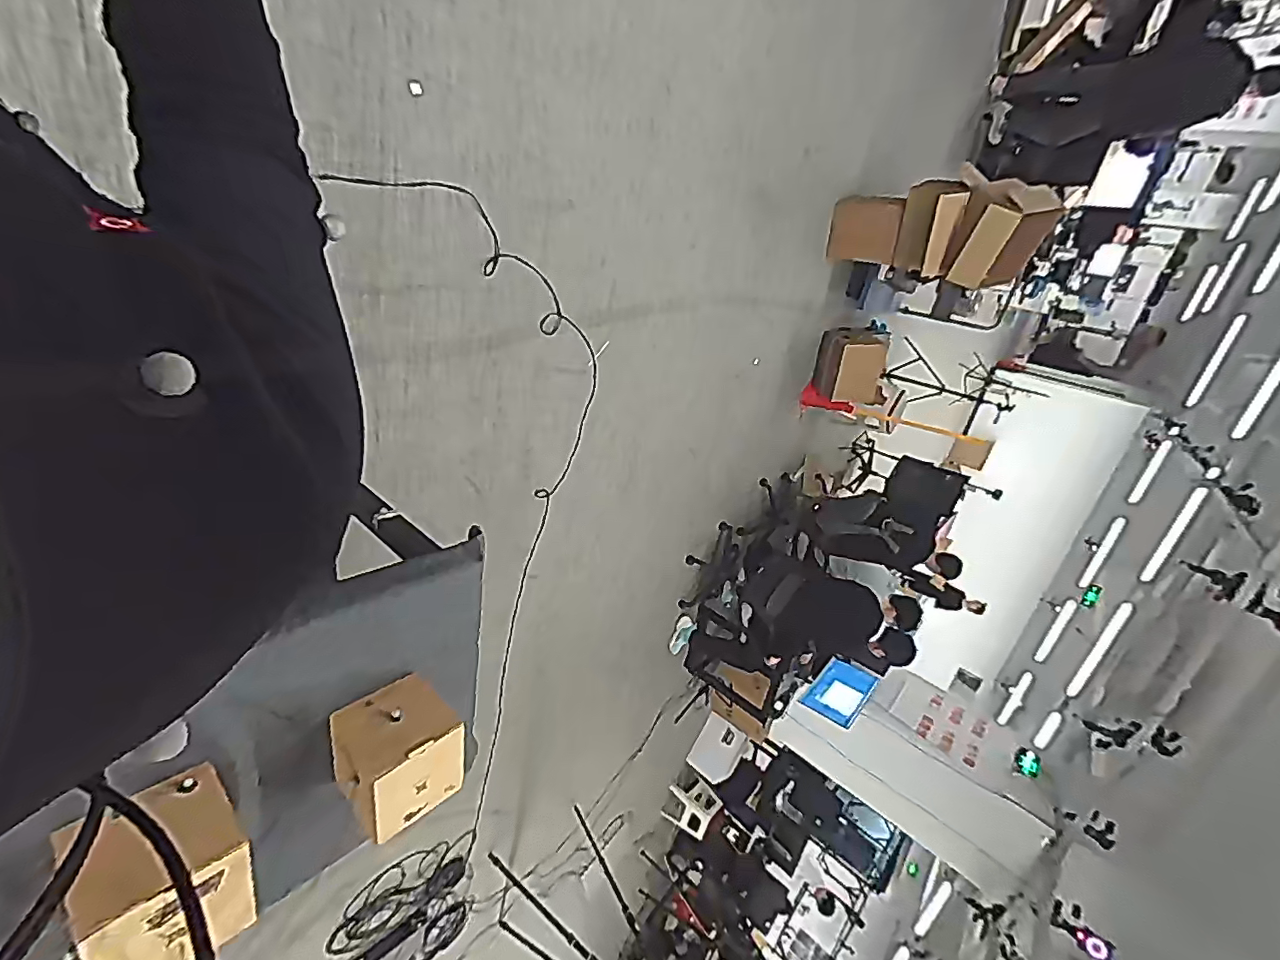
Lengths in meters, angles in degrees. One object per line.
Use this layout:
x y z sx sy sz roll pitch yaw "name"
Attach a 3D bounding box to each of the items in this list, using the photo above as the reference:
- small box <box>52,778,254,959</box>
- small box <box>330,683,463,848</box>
-0.650 0.542 0.729 0.168 0.176 0.179 -15 125 -49 "small box"
-0.441 0.500 0.983 0.168 0.176 0.179 -18 126 -47 "small box"
